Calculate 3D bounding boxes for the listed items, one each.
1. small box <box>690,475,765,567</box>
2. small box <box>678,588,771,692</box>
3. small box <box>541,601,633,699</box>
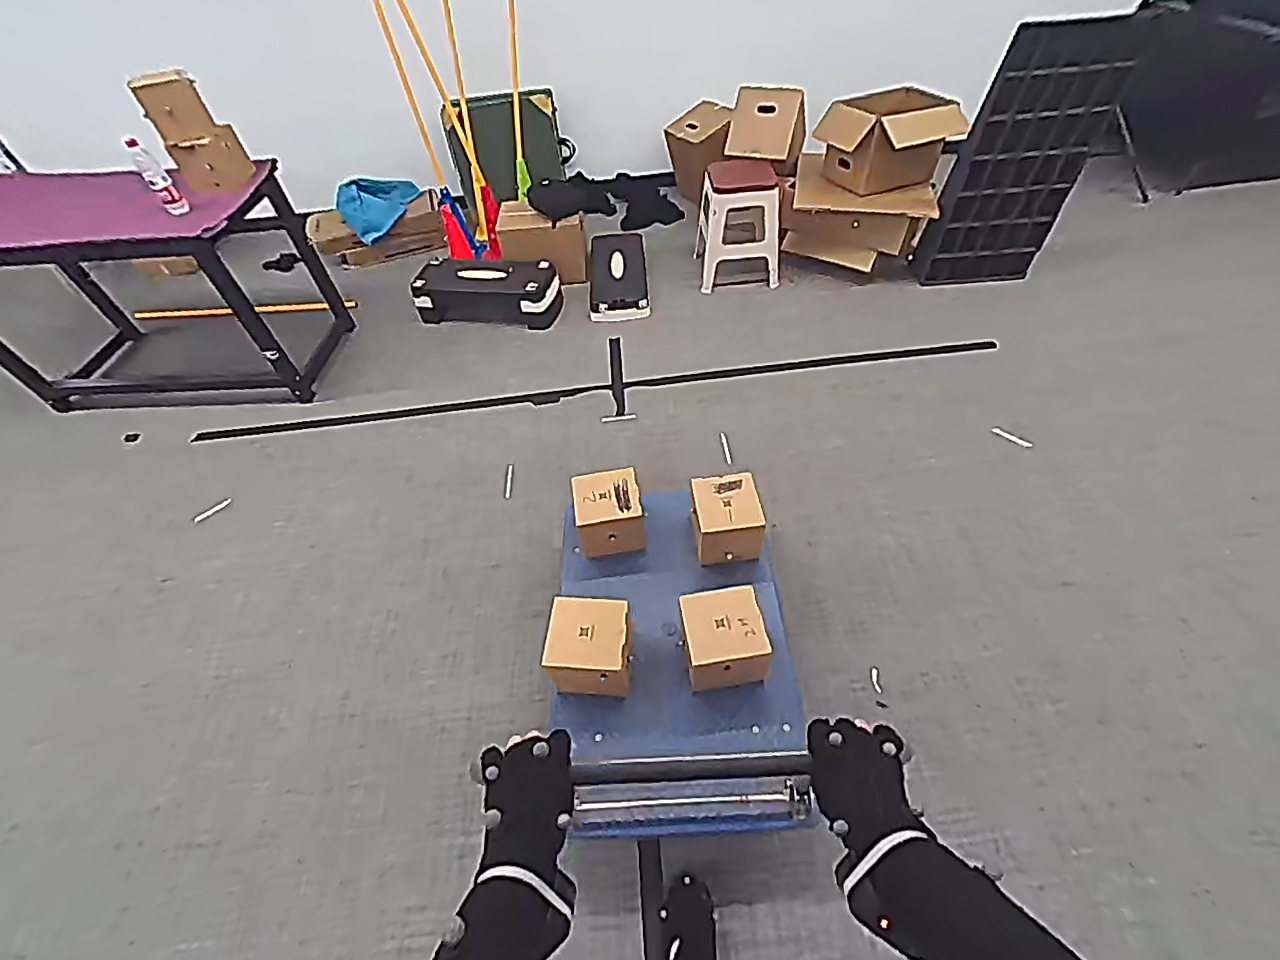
[{"bbox_3d":[0.227,0.111,1.453,0.168,0.176,0.179,-7,52,-1],"label":"small box"},{"bbox_3d":[0.188,0.372,1.244,0.179,0.176,0.168,-9,51,-2],"label":"small box"},{"bbox_3d":[-0.115,0.396,1.253,0.179,0.176,0.168,2,51,5],"label":"small box"}]
